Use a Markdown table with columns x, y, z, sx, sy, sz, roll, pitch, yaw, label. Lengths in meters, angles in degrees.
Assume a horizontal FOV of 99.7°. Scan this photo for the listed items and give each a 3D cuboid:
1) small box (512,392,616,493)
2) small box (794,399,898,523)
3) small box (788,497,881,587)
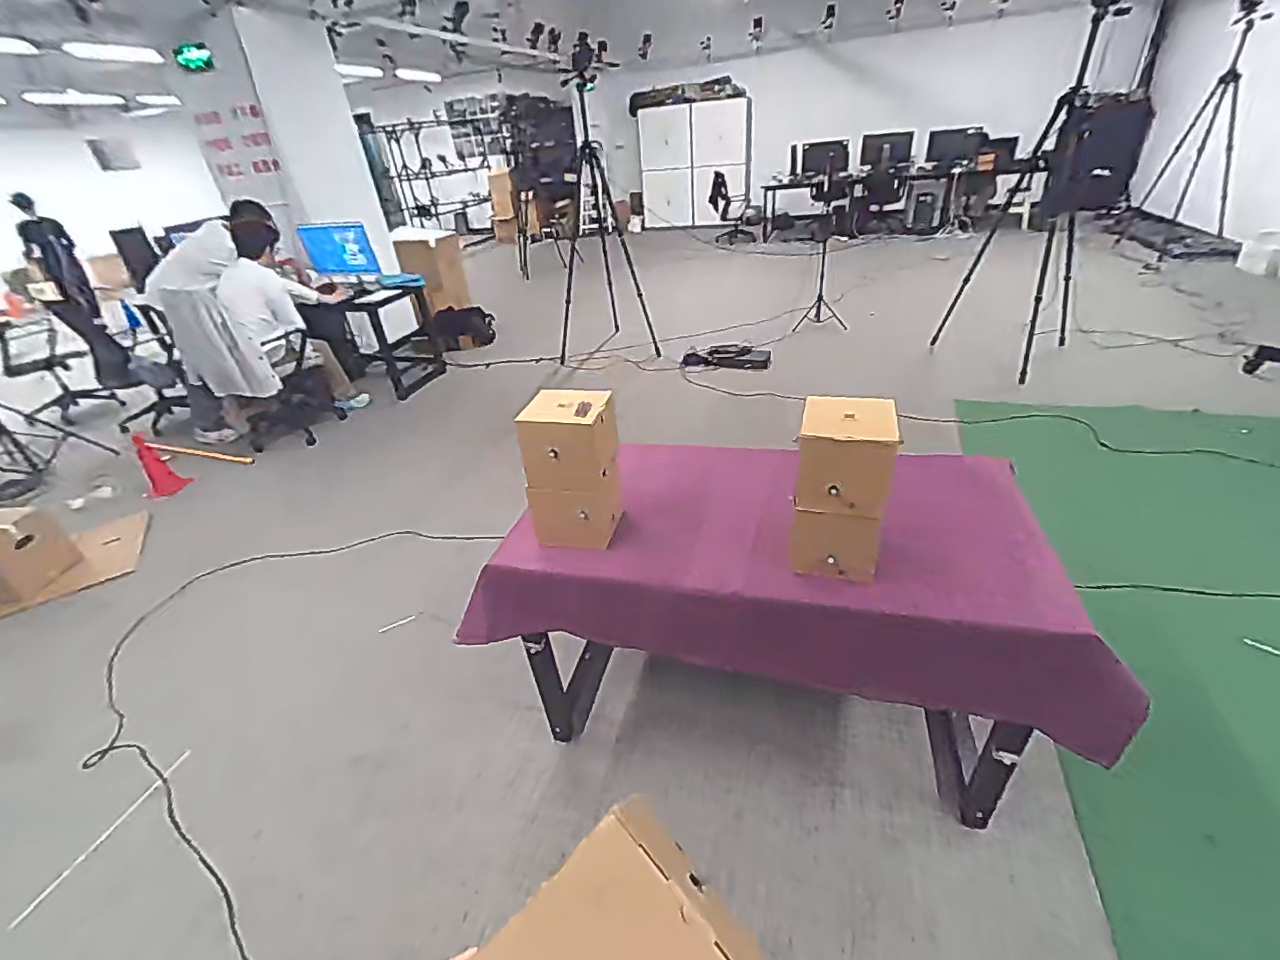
| x | y | z | sx | sy | sz | roll | pitch | yaw | label |
| --- | --- | --- | --- | --- | --- | --- | --- | --- | --- |
| -0.158 | -0.083 | 1.209 | 0.179 | 0.176 | 0.168 | 3 | 33 | 14 | small box |
| 0.395 | -0.041 | 1.053 | 0.168 | 0.176 | 0.179 | 6 | 35 | 18 | small box |
| 0.407 | 0.096 | 1.141 | 0.168 | 0.176 | 0.179 | 5 | 34 | 18 | small box |
